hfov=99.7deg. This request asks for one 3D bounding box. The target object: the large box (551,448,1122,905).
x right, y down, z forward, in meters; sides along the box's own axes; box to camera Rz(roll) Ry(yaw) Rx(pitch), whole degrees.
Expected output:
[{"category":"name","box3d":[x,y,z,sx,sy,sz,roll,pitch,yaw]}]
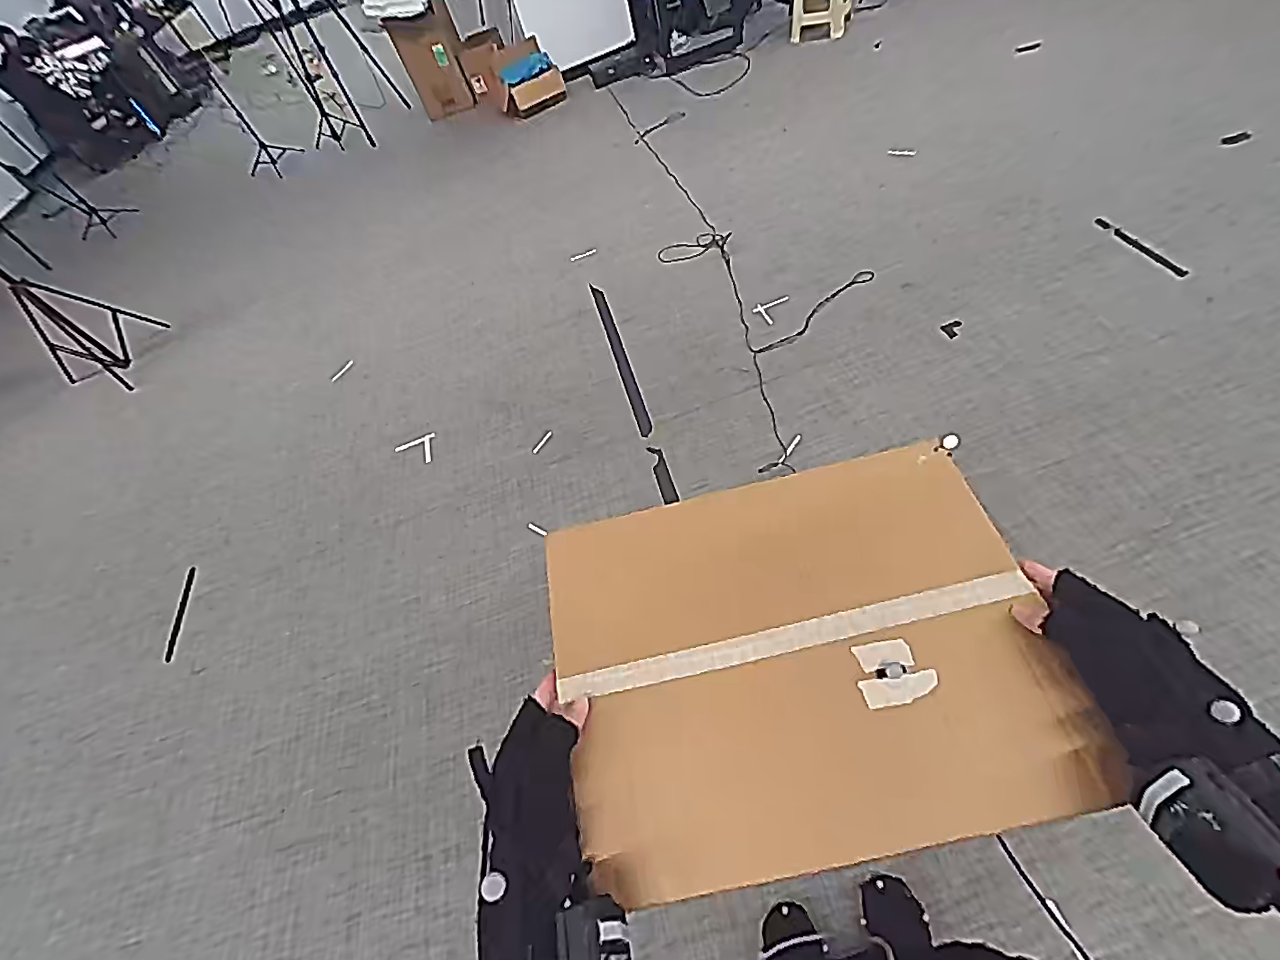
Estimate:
[{"category":"large box","box3d":[0.149,0.219,0.594,0.408,0.320,0.320,-14,56,1]}]
